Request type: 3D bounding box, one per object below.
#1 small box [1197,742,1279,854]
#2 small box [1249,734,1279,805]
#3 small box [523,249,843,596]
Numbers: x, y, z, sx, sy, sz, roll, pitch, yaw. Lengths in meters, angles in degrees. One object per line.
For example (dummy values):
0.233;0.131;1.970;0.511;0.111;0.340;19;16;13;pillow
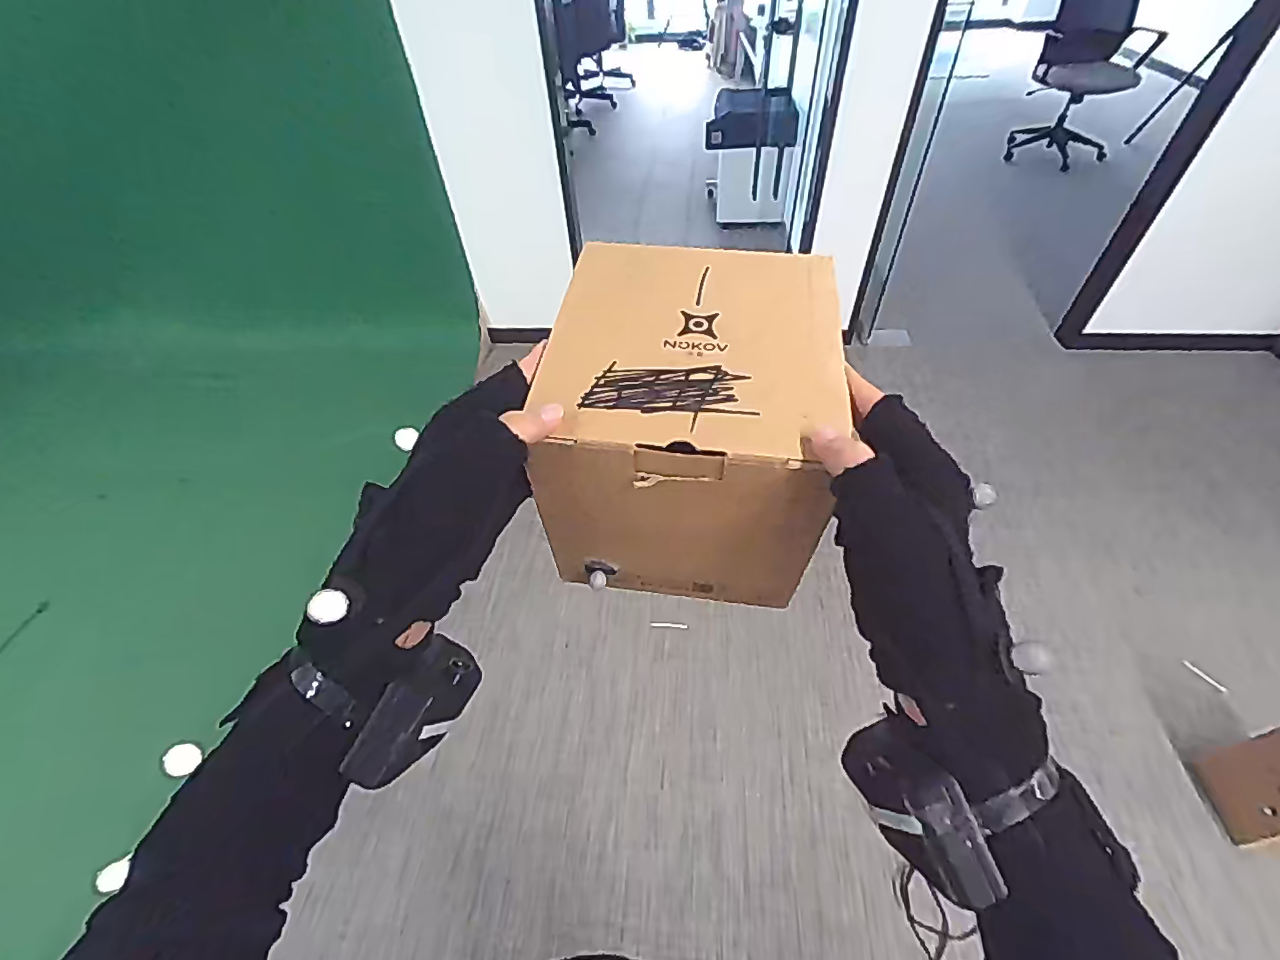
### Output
1.388;0.691;1.167;0.168;0.176;0.179;2;48;6;small box
1.379;0.580;1.046;0.179;0.176;0.168;3;48;5;small box
0.034;-0.036;0.381;0.168;0.176;0.179;6;53;6;small box
